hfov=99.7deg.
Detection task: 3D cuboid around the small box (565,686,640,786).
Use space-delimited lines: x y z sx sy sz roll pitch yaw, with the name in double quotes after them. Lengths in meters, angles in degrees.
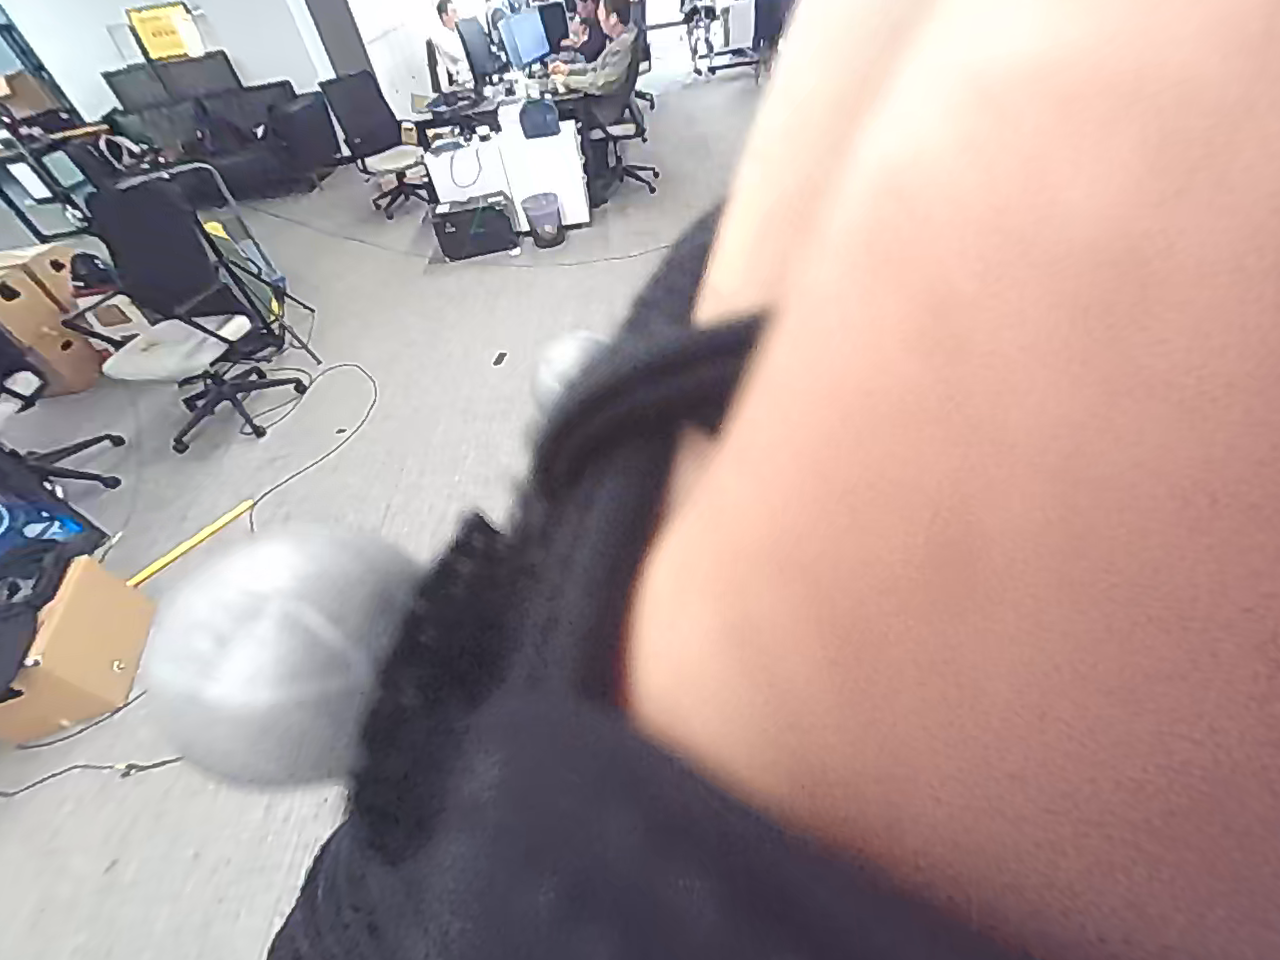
-0.096 0.658 1.390 0.168 0.176 0.179 -9 46 0 "small box"
